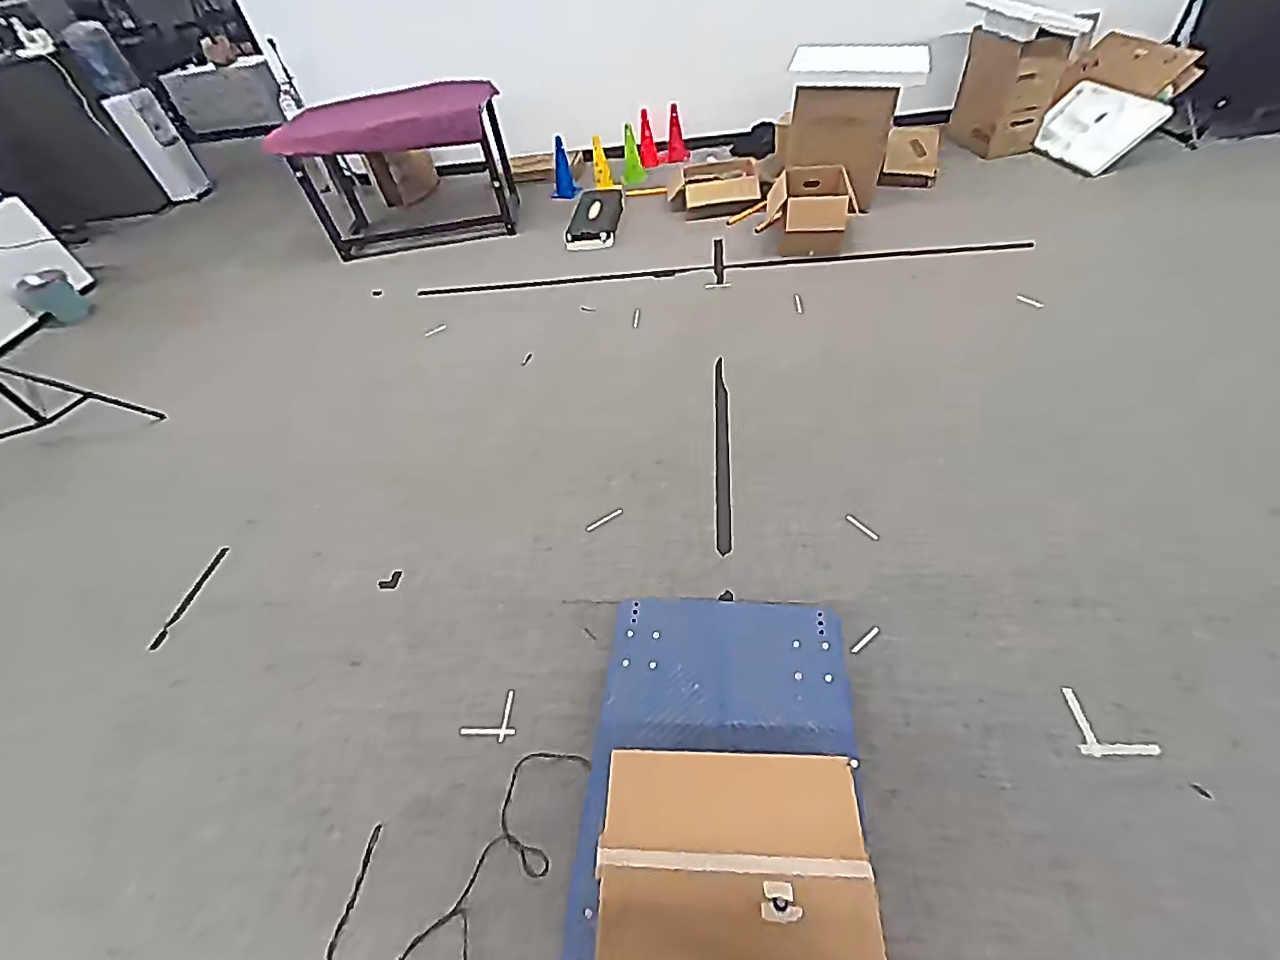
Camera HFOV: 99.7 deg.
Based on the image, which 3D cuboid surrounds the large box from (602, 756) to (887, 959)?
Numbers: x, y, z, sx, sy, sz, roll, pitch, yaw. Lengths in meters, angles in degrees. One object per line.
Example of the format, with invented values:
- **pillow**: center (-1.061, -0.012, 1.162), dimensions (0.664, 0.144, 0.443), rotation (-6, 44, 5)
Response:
- **large box**: center (0.160, 0.693, 0.937), dimensions (0.408, 0.320, 0.320), rotation (-2, 48, 6)
